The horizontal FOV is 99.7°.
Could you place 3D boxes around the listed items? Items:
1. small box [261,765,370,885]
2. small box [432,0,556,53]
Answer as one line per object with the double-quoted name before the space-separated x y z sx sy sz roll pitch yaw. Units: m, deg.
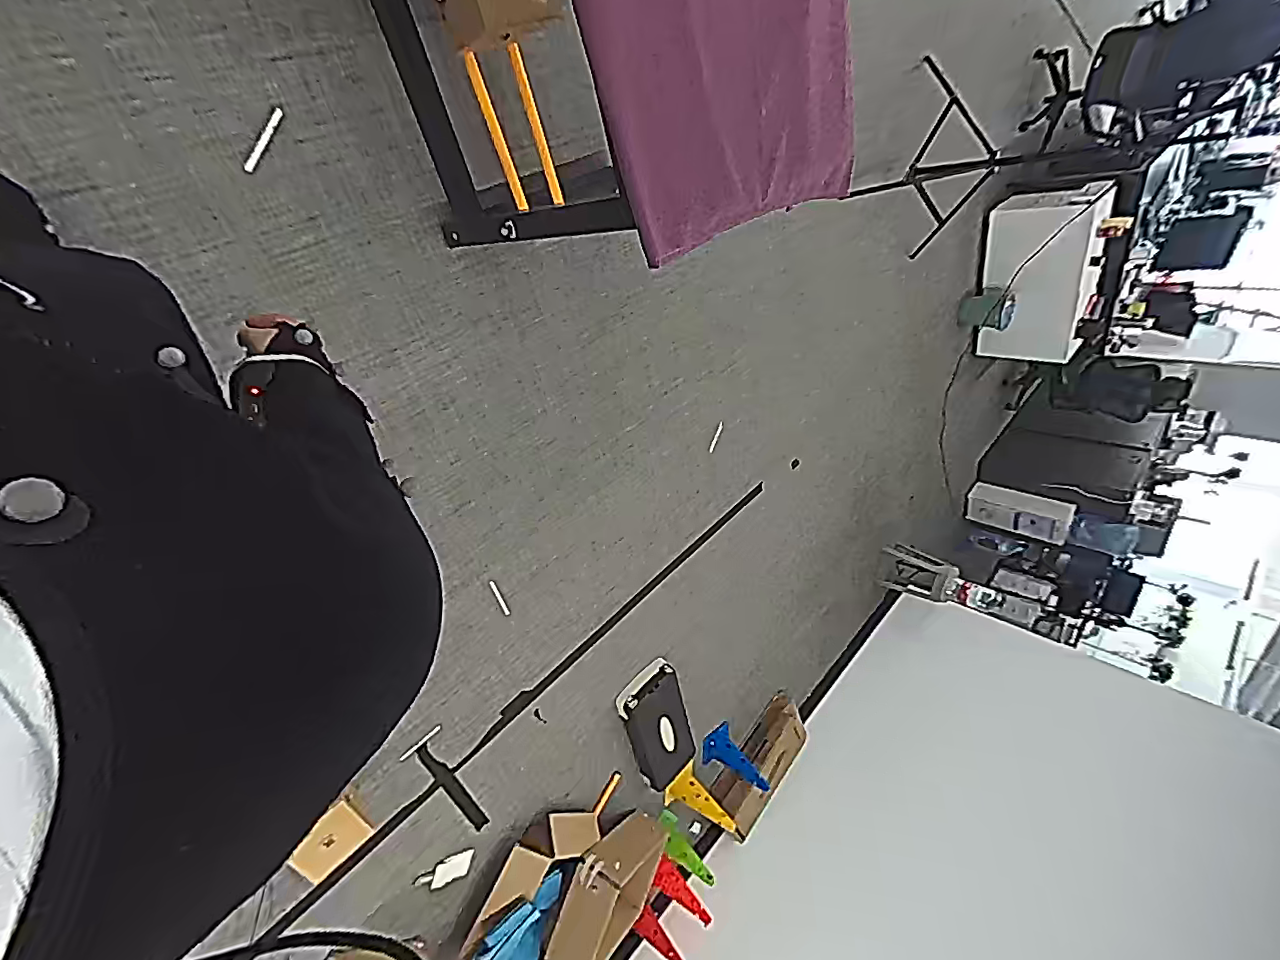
"small box" -0.845 0.890 1.409 0.168 0.176 0.179 -36 127 -29
"small box" -0.301 -0.977 1.065 0.179 0.176 0.168 -36 127 -26
